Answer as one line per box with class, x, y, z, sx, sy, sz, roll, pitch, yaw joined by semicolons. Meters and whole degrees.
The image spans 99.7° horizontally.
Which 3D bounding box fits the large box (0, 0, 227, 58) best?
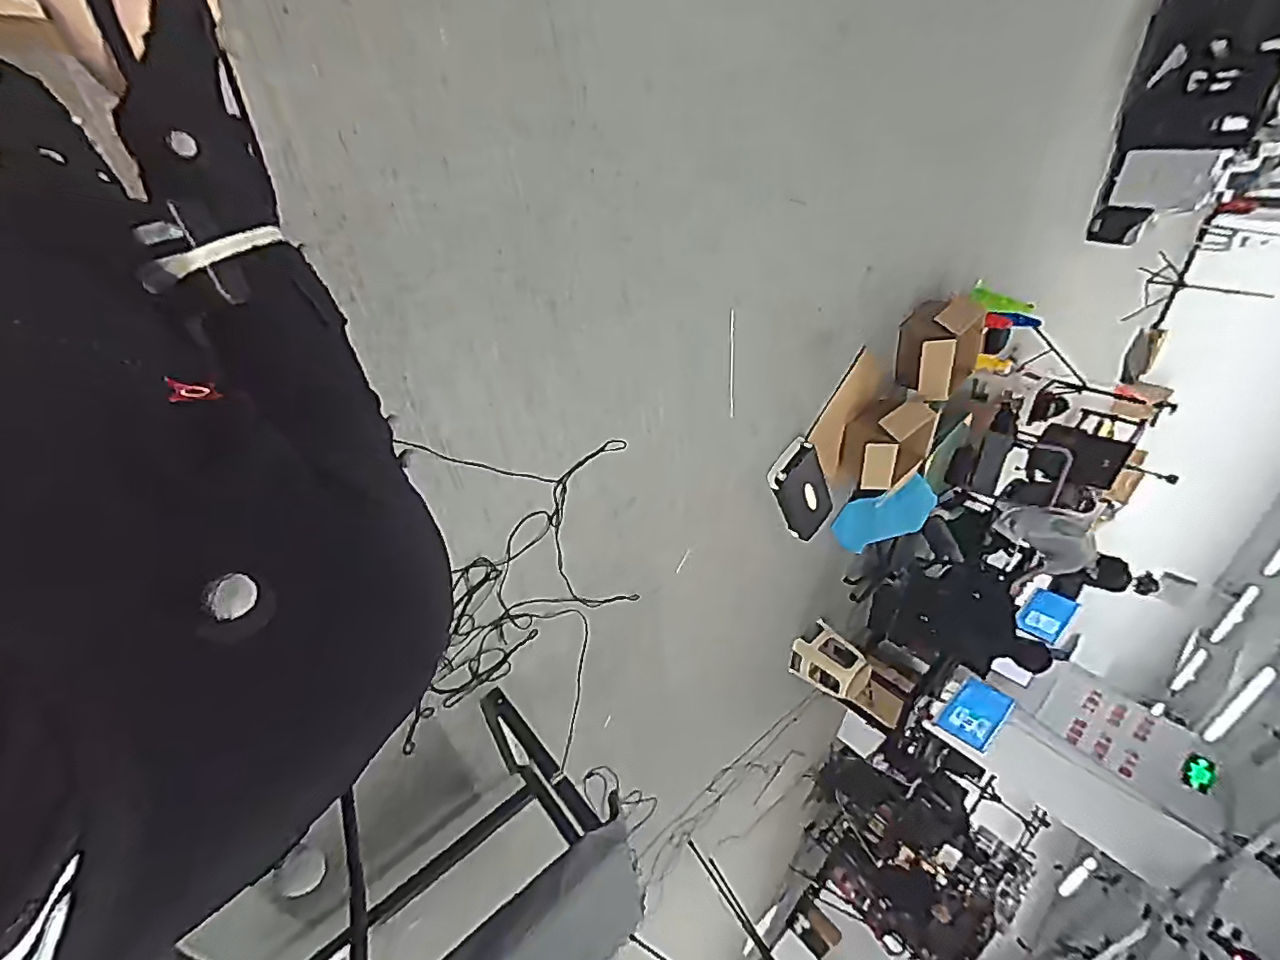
large box;-0.796;-0.718;0.627;0.408;0.320;0.320;-23;129;-35
